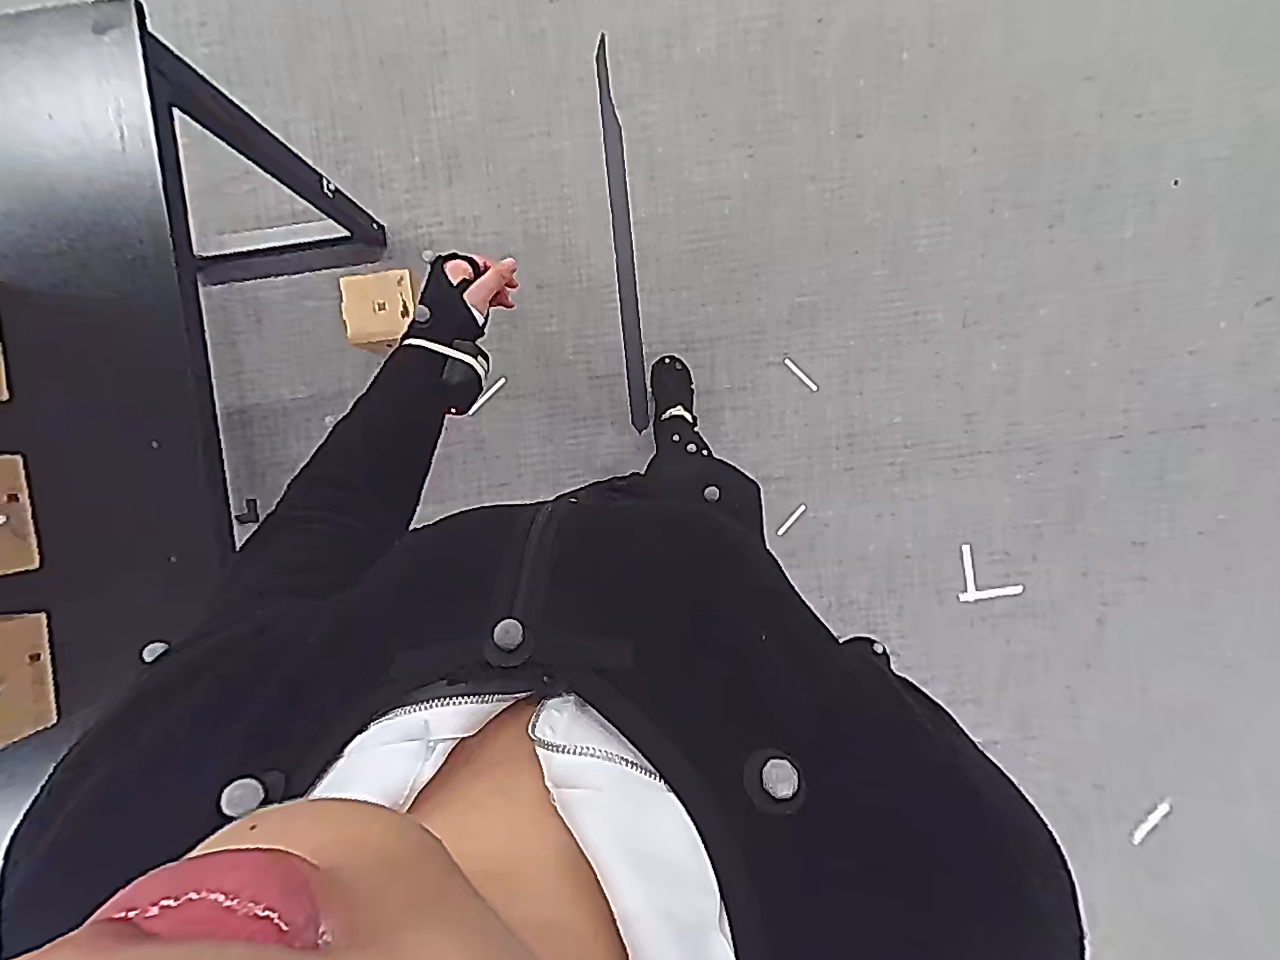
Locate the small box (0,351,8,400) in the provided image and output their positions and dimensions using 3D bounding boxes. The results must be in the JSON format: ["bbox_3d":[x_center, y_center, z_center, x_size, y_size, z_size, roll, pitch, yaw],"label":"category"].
[{"bbox_3d":[-0.991,-0.190,0.691,0.168,0.176,0.179,-6,94,3],"label":"small box"}]

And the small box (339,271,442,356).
[{"bbox_3d":[-0.638,-0.424,1.400,0.179,0.176,0.168,-7,93,2],"label":"small box"}]

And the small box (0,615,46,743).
[{"bbox_3d":[-0.946,0.281,0.709,0.179,0.176,0.168,-3,92,2],"label":"small box"}]

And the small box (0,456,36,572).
[{"bbox_3d":[-0.965,0.057,0.700,0.179,0.176,0.168,-6,93,1],"label":"small box"}]
